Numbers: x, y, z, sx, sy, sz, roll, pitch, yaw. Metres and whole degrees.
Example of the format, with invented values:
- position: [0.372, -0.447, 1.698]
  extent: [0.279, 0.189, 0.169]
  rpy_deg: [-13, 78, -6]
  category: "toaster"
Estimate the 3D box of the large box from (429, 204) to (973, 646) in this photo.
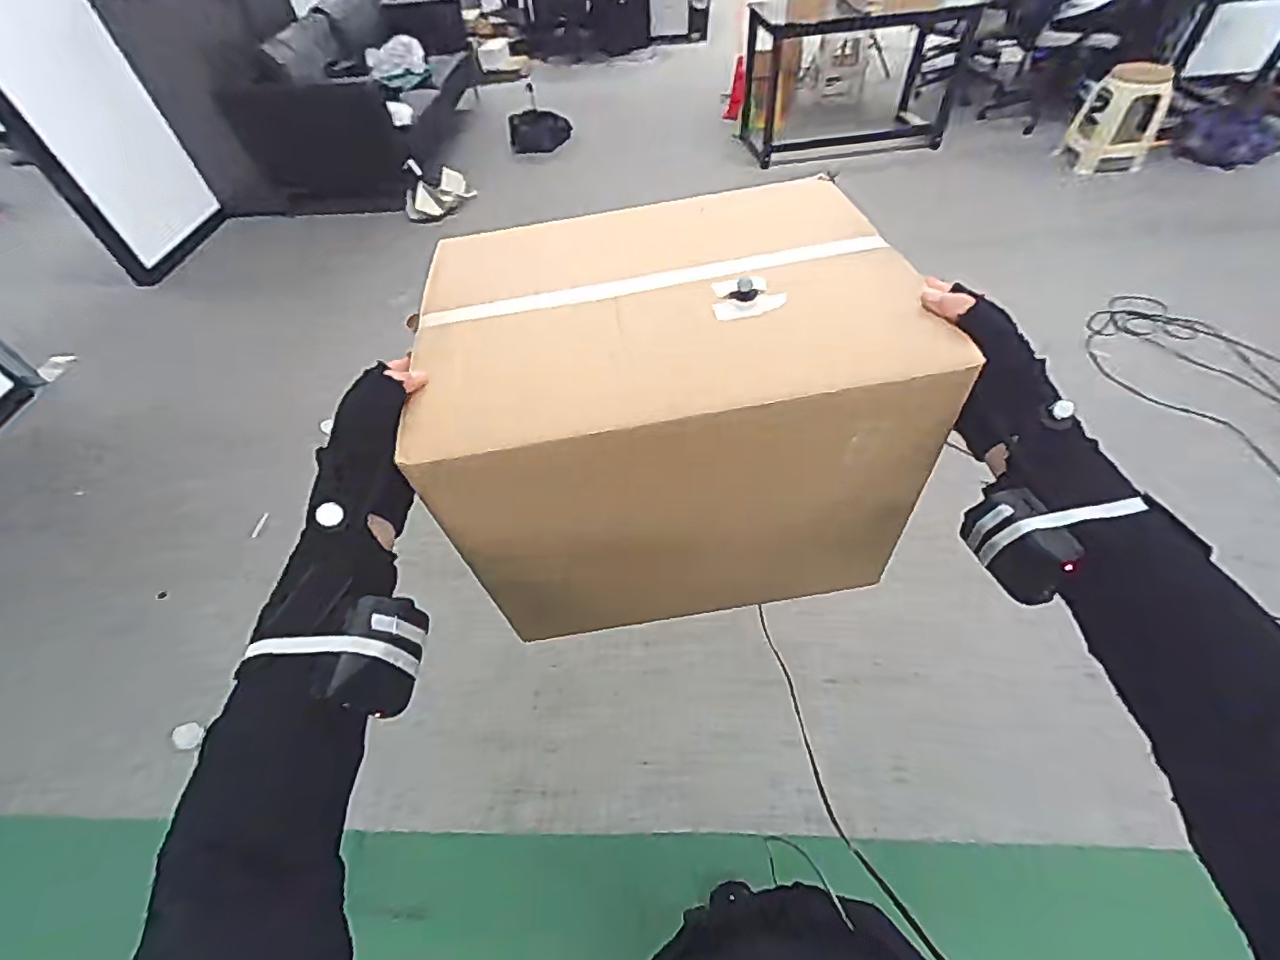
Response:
- position: [0.038, -0.053, 0.589]
  extent: [0.408, 0.320, 0.320]
  rpy_deg: [-9, 50, -1]
  category: "large box"
